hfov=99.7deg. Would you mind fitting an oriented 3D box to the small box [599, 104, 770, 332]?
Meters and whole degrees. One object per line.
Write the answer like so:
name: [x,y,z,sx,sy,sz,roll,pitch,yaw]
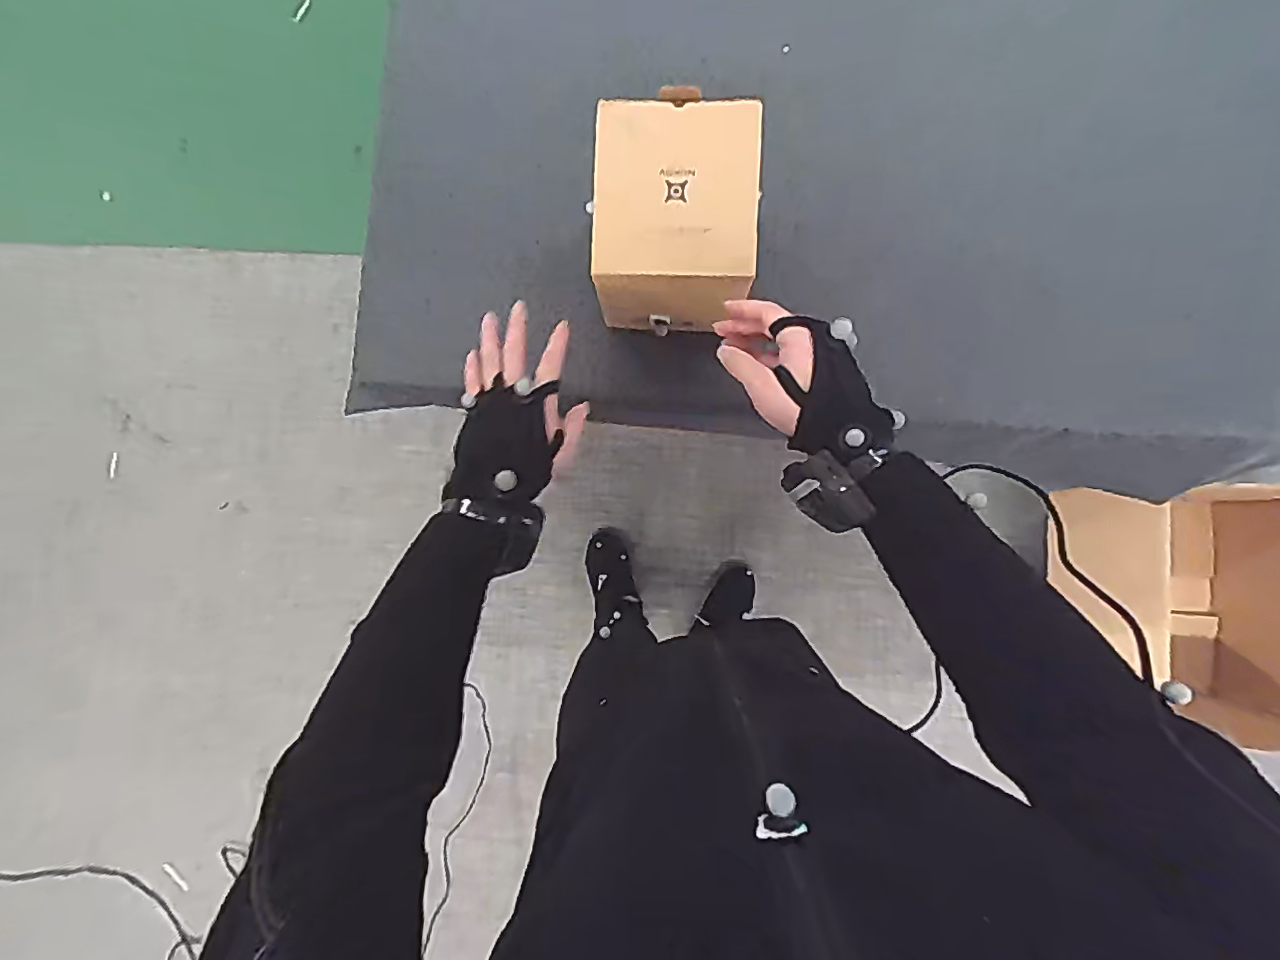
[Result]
small box: [0.047,-0.284,0.614,0.168,0.176,0.179,2,87,3]
